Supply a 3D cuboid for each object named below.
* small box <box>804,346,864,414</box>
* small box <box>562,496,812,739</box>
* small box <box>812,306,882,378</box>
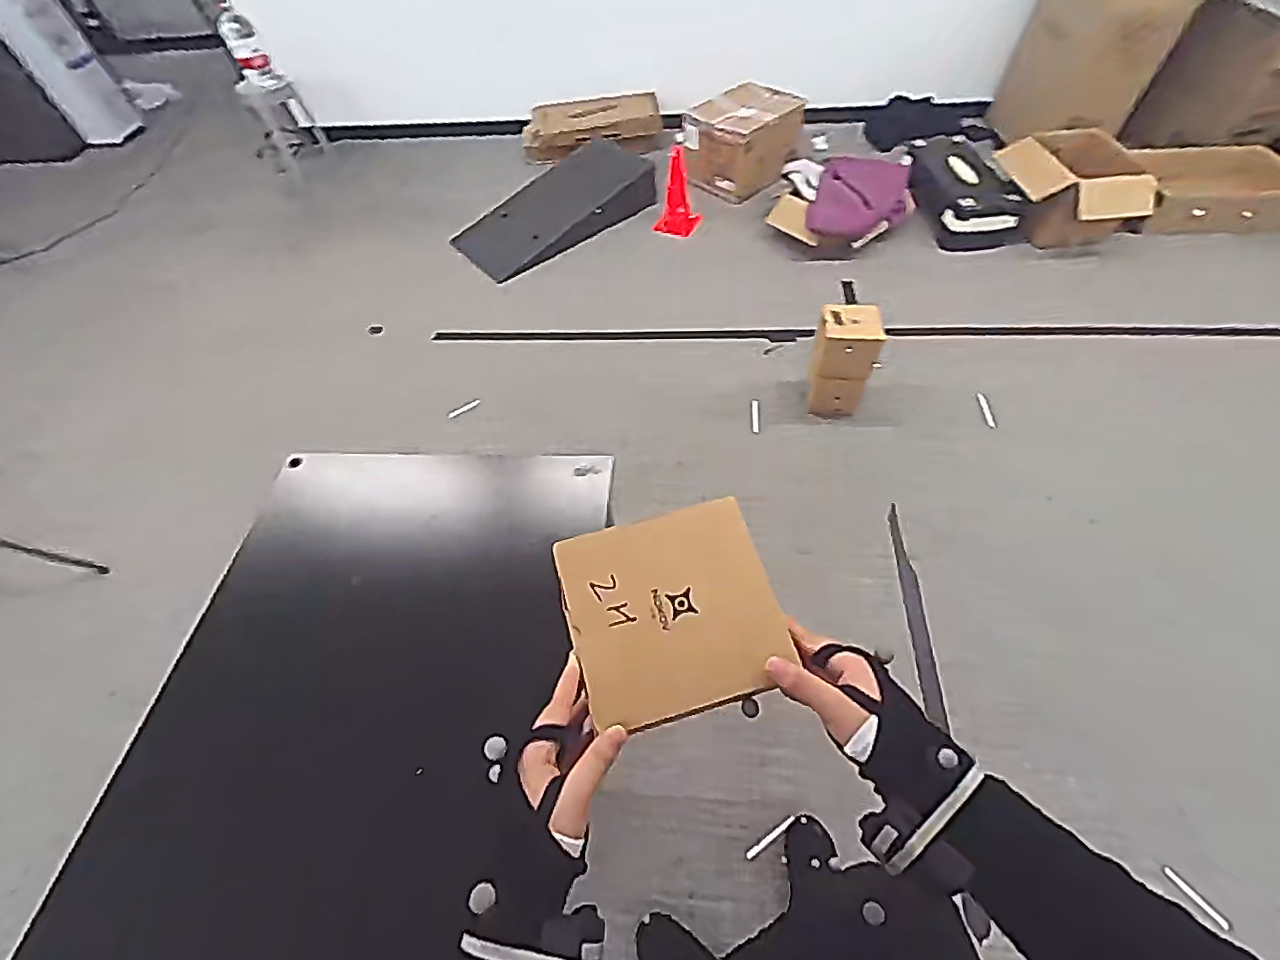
[{"bbox_3d":[0.676,-0.348,1.901,0.168,0.176,0.179,3,56,7],"label":"small box"},{"bbox_3d":[0.035,0.138,0.520,0.179,0.176,0.168,-14,64,-5],"label":"small box"},{"bbox_3d":[0.669,-0.450,1.770,0.179,0.176,0.168,3,55,6],"label":"small box"}]
